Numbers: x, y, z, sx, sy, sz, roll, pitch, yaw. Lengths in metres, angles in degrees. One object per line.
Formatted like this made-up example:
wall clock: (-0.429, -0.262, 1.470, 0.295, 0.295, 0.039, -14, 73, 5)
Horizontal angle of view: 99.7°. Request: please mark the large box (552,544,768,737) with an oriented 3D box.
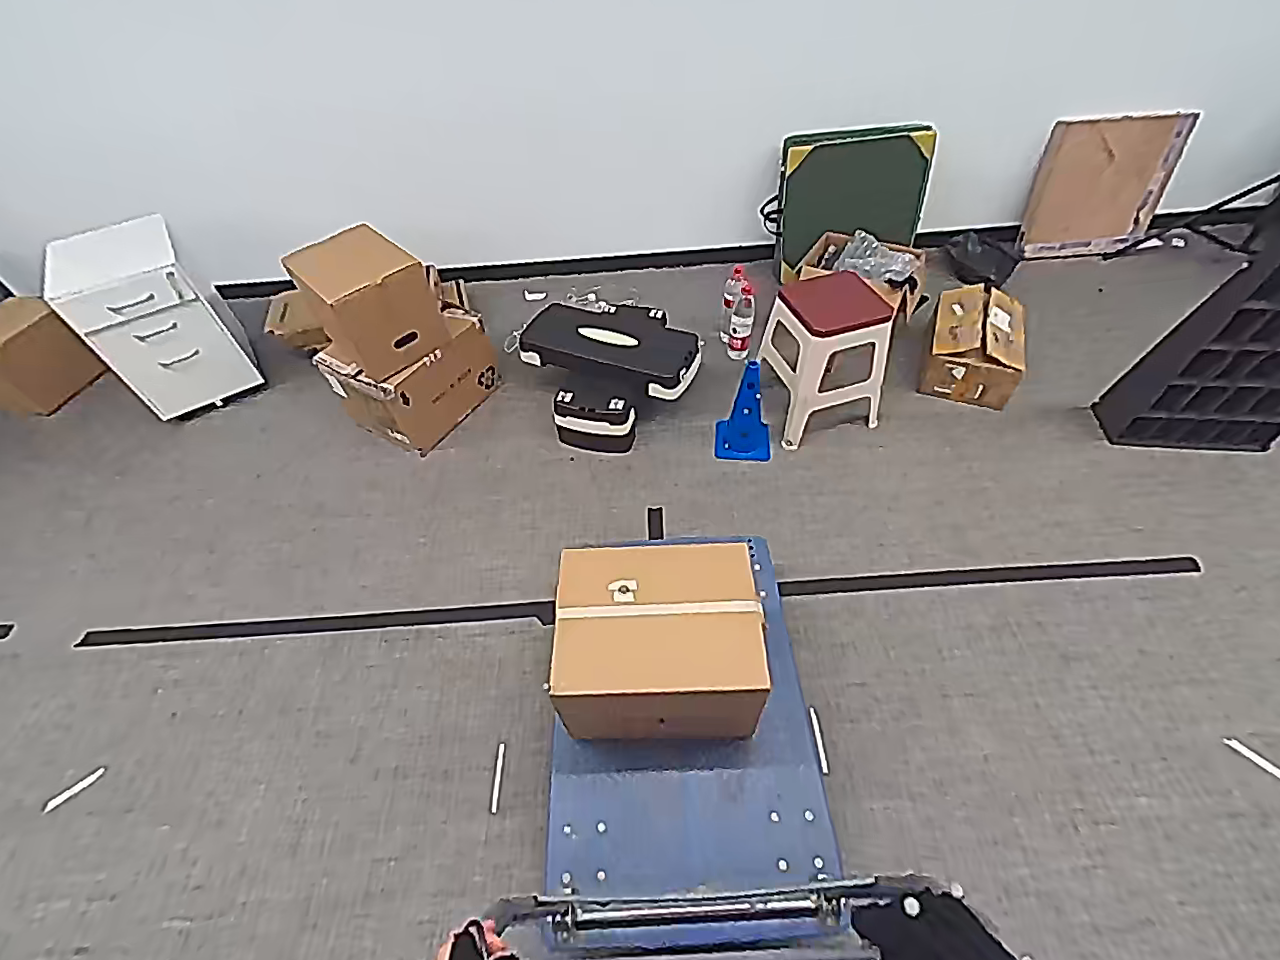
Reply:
large box: (0.042, 0.362, 1.193, 0.408, 0.320, 0.320, -3, 50, 2)
